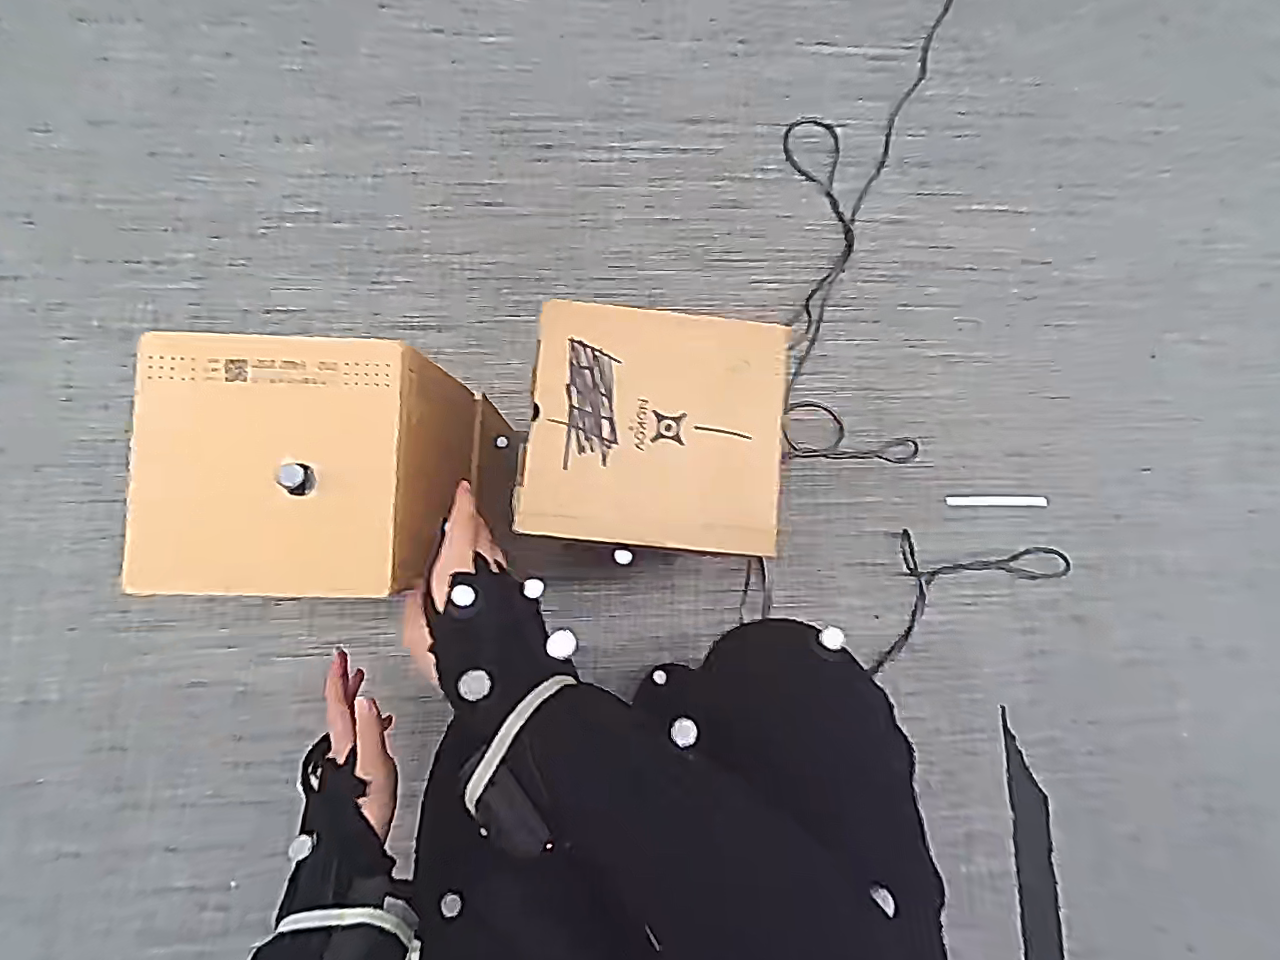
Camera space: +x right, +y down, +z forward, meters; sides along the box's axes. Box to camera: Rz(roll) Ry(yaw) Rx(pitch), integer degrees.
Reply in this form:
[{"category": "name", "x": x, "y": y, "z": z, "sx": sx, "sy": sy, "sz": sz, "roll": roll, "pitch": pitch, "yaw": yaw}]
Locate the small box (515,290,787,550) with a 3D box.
[{"category": "small box", "x": 0.006, "y": -0.033, "z": 0.447, "sx": 0.179, "sy": 0.176, "sz": 0.168, "roll": 6, "pitch": 82, "yaw": -3}]
